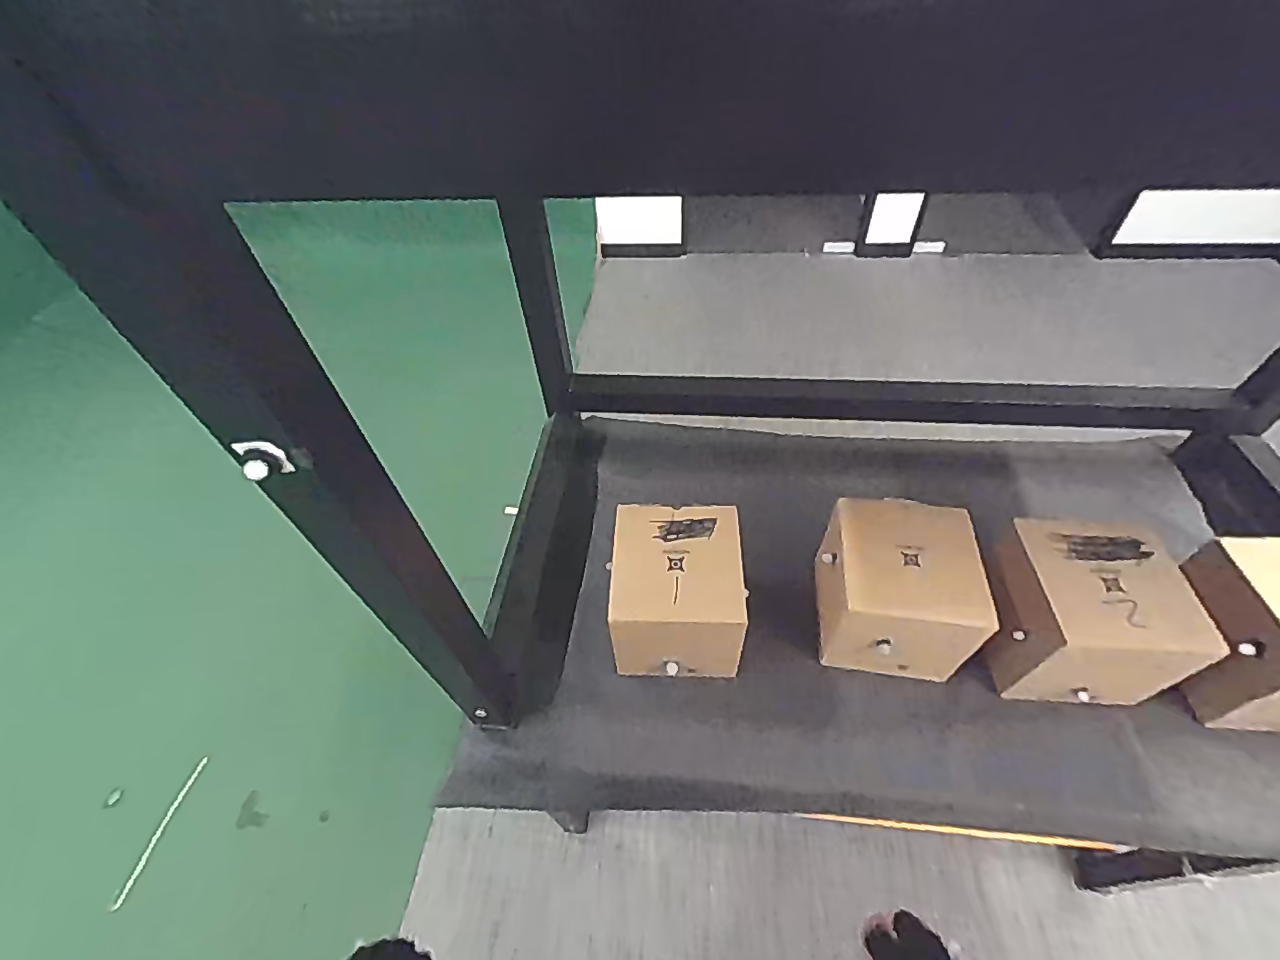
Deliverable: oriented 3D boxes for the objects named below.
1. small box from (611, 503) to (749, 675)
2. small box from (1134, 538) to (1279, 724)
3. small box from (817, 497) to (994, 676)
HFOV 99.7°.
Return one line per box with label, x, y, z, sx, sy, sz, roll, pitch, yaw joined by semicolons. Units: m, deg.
small box;0.053;0.151;0.749;0.168;0.176;0.179;0;50;4
small box;0.782;0.192;0.664;0.168;0.176;0.179;1;49;5
small box;0.342;0.148;0.737;0.168;0.176;0.179;6;50;9
